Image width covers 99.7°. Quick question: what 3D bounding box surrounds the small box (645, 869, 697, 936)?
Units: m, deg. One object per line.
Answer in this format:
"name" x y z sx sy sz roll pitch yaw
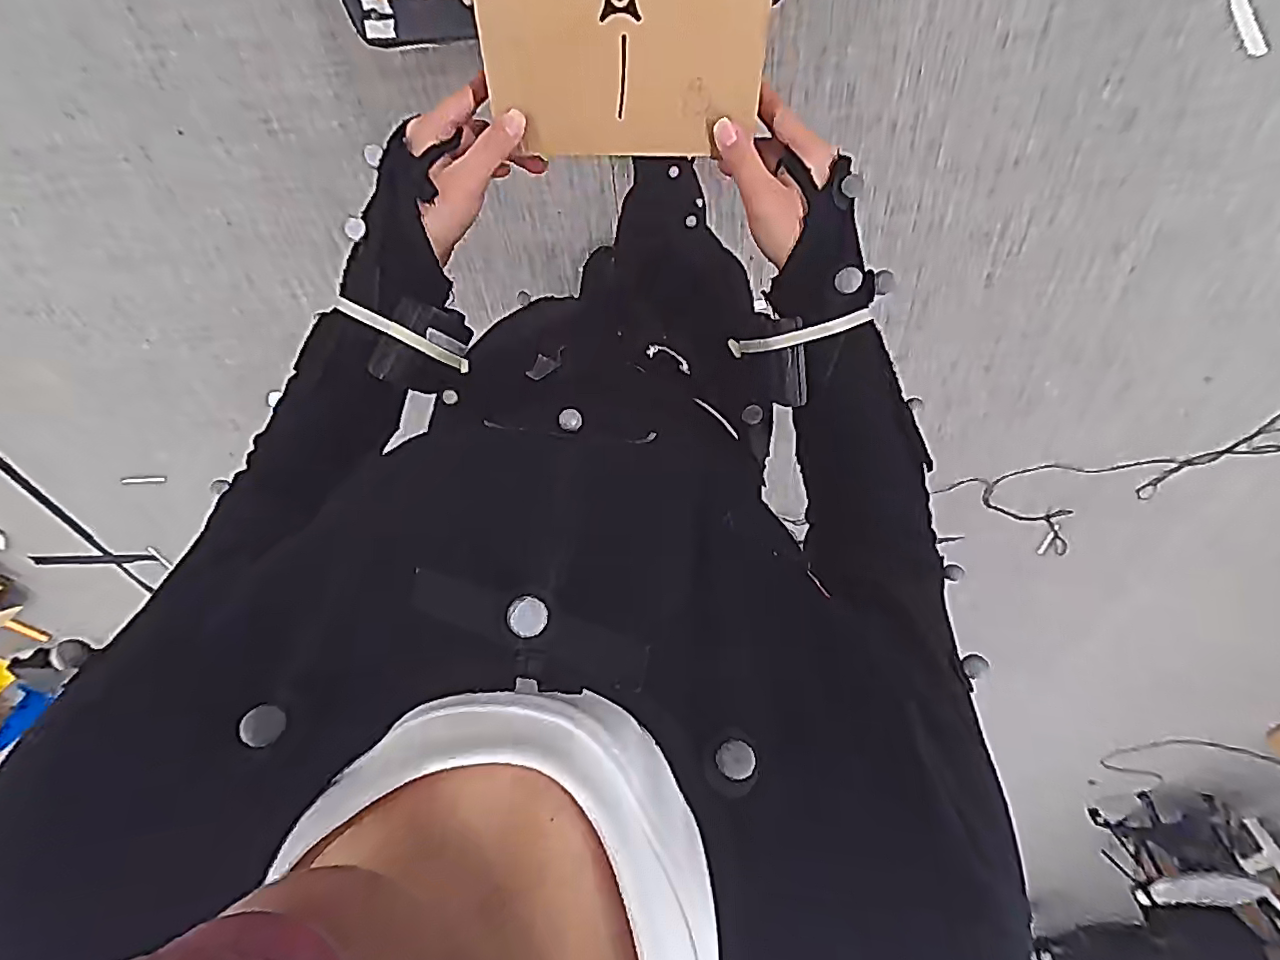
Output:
"small box" 0.110 1.500 1.921 0.179 0.176 0.168 -2 133 6

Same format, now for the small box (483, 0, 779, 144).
"small box" -0.004 -0.333 0.339 0.168 0.176 0.179 1 136 1
